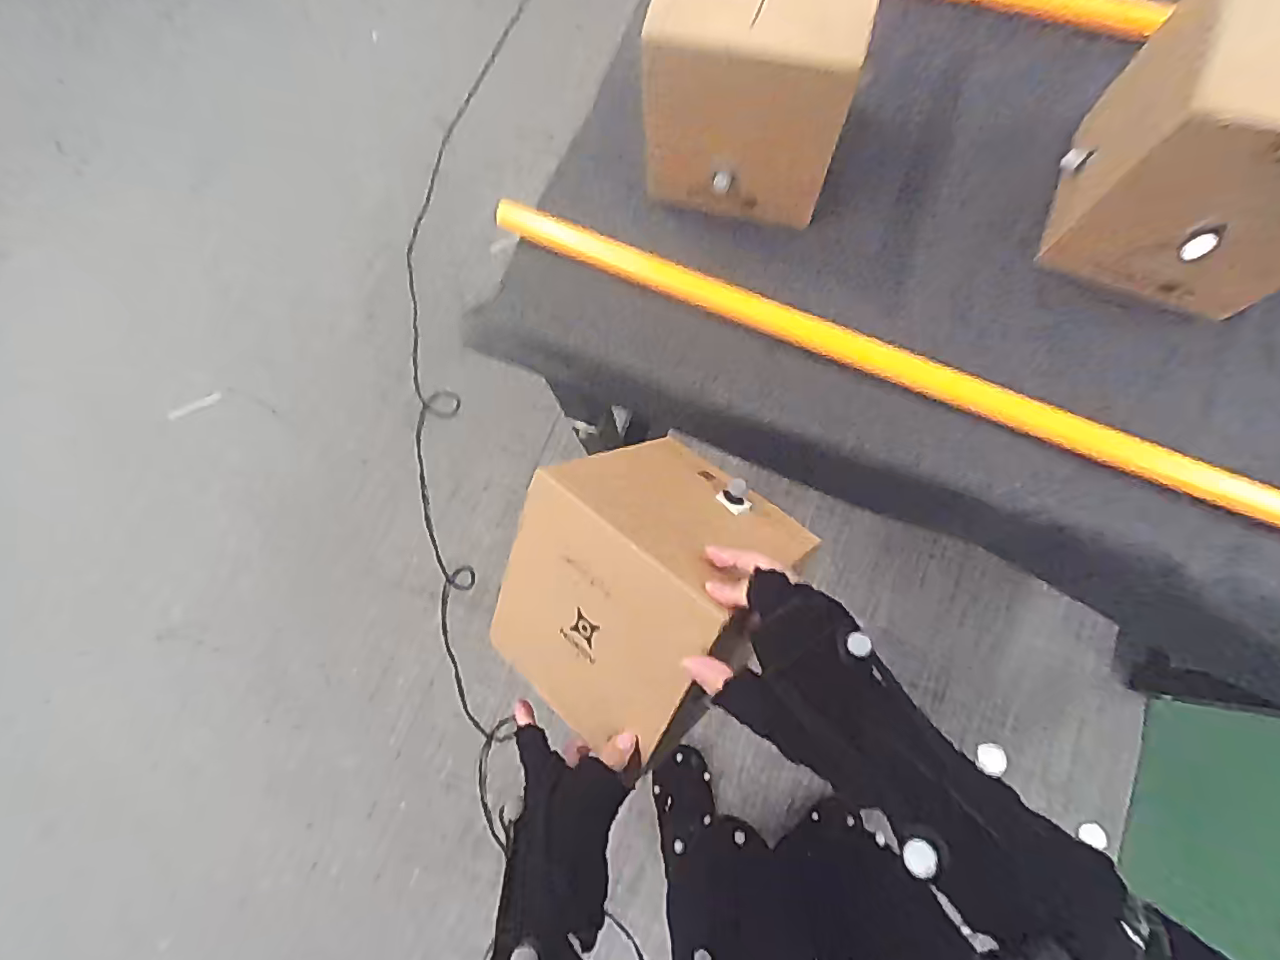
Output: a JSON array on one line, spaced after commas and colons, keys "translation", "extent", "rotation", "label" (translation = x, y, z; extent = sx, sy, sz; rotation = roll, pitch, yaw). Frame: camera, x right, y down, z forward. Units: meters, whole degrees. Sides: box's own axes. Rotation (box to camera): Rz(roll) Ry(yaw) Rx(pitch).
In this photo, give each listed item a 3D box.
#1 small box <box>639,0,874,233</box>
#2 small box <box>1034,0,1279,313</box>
[{"translation": [0.104, -0.367, 0.495], "extent": [0.168, 0.176, 0.179], "rotation": [15, 78, 8], "label": "small box"}, {"translation": [0.470, -0.269, 0.448], "extent": [0.168, 0.176, 0.179], "rotation": [19, 77, 10], "label": "small box"}]
